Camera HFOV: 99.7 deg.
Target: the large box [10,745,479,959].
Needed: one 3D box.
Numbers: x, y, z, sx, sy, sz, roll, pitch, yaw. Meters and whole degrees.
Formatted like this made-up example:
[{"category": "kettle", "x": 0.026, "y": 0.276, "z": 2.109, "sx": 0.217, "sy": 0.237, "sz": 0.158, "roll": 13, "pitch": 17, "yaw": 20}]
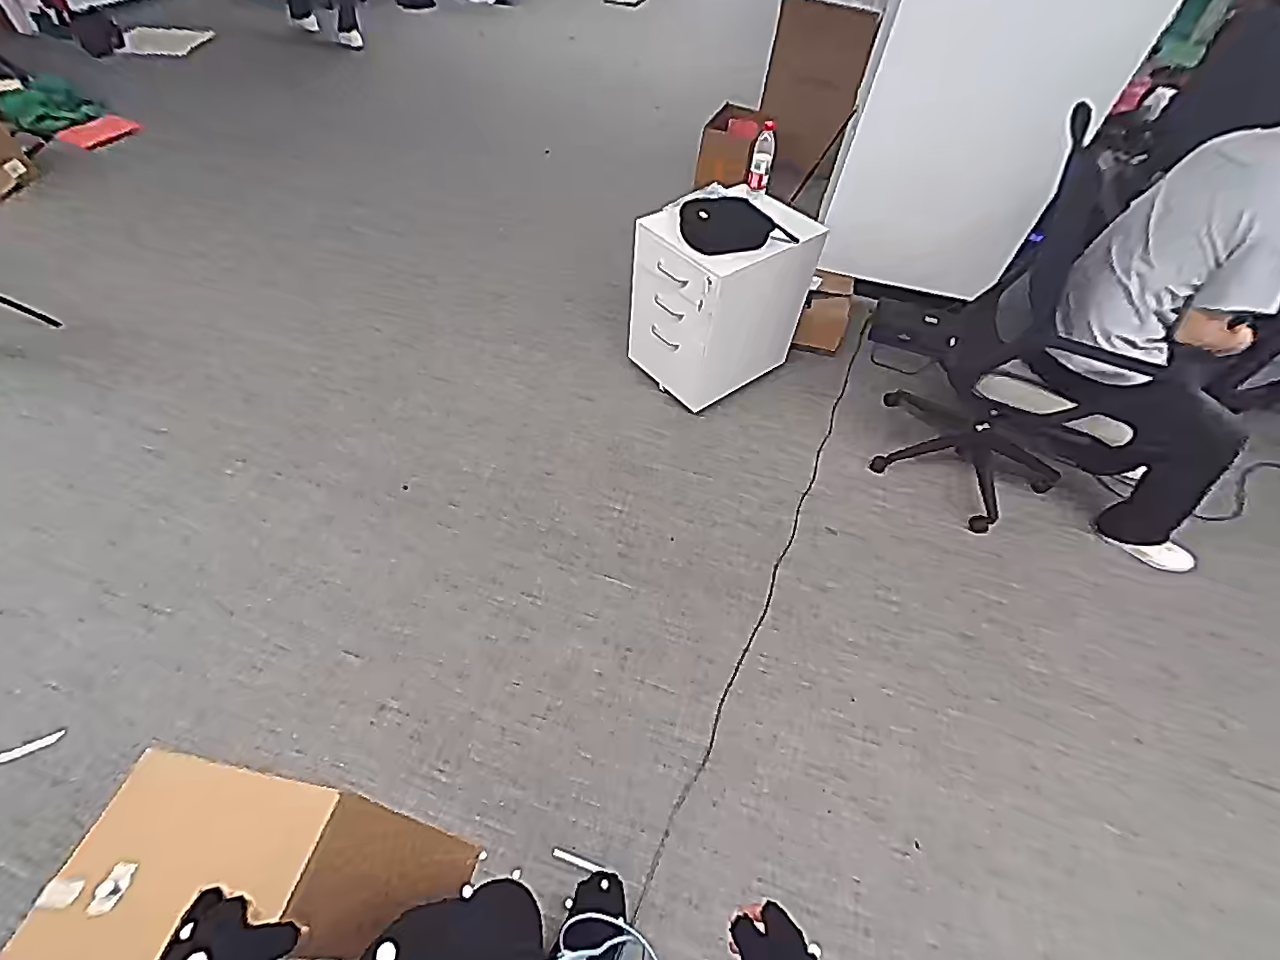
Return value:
[{"category": "large box", "x": -0.490, "y": 0.595, "z": 0.733, "sx": 0.320, "sy": 0.408, "sz": 0.320, "roll": 5, "pitch": 51, "yaw": 17}]
